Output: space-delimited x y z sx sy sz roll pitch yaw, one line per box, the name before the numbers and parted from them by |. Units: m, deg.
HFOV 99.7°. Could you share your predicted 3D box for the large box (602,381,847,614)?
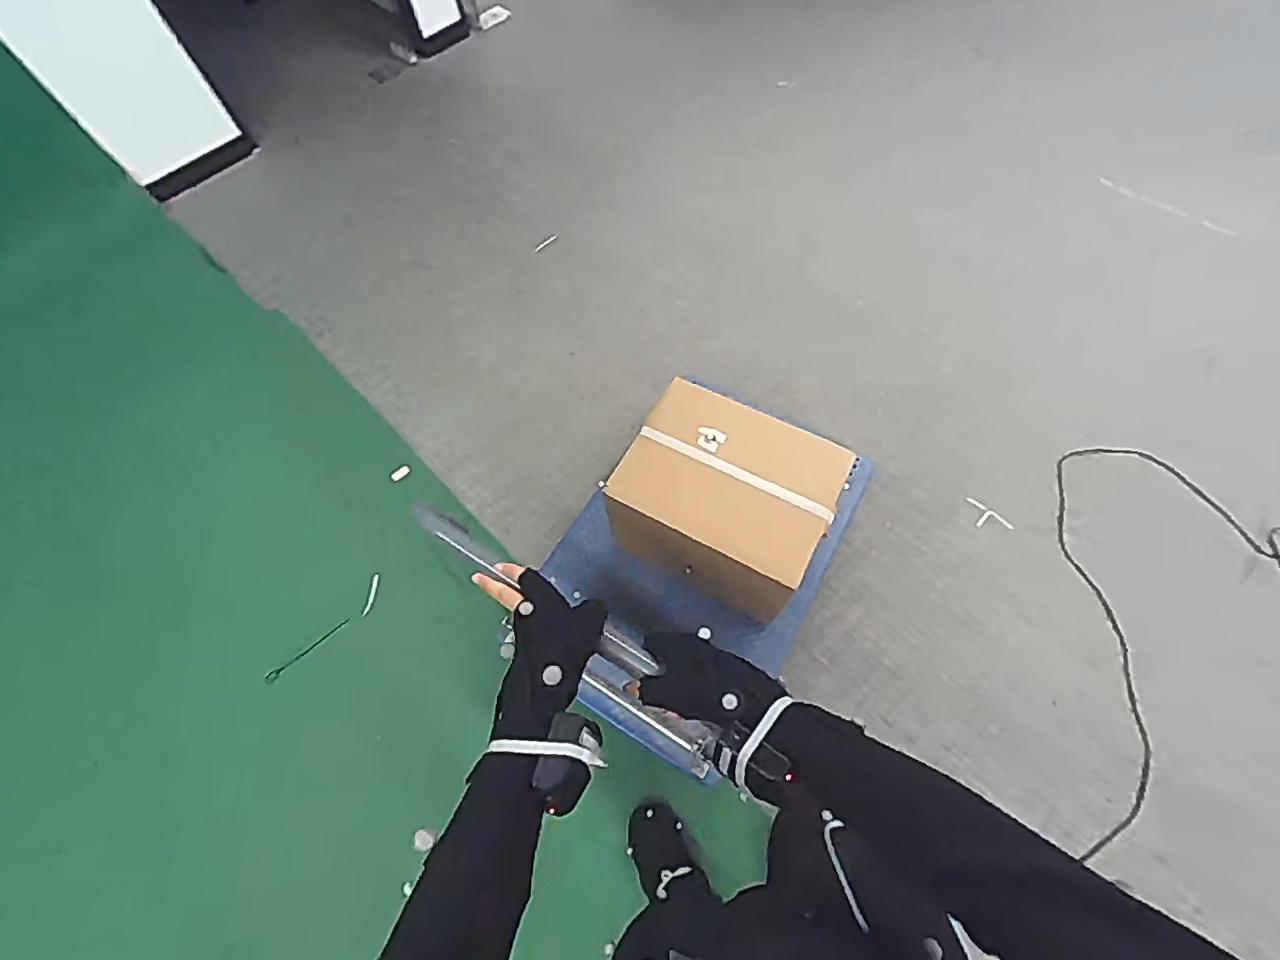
large box | 0.180 0.049 1.201 0.408 0.320 0.320 25 68 15
